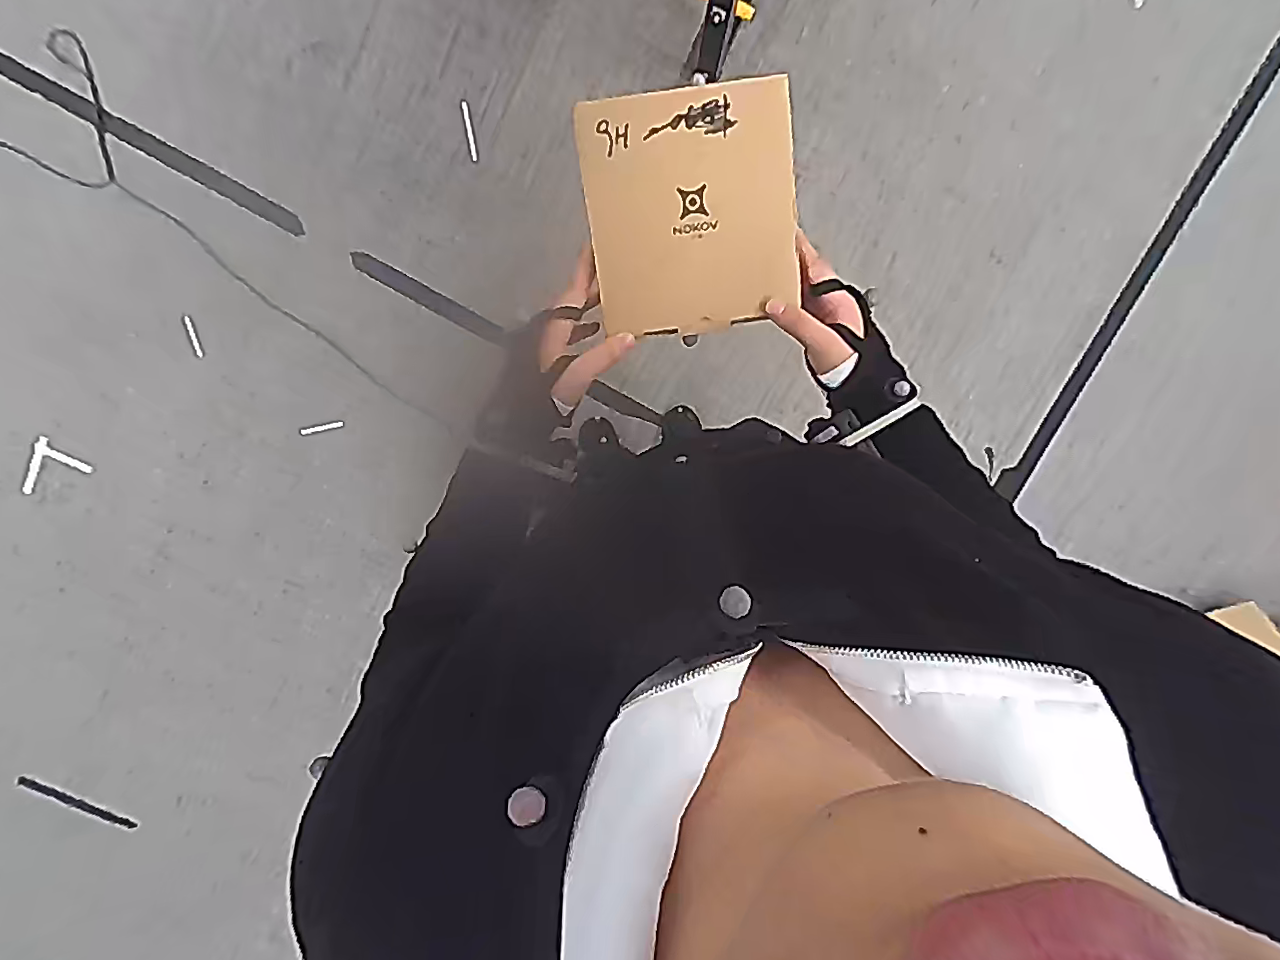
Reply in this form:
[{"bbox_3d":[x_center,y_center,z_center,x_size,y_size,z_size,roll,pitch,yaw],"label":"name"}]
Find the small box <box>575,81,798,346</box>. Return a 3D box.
[{"bbox_3d":[0.039,-0.230,0.504,0.168,0.176,0.179,-9,107,-1],"label":"small box"}]
